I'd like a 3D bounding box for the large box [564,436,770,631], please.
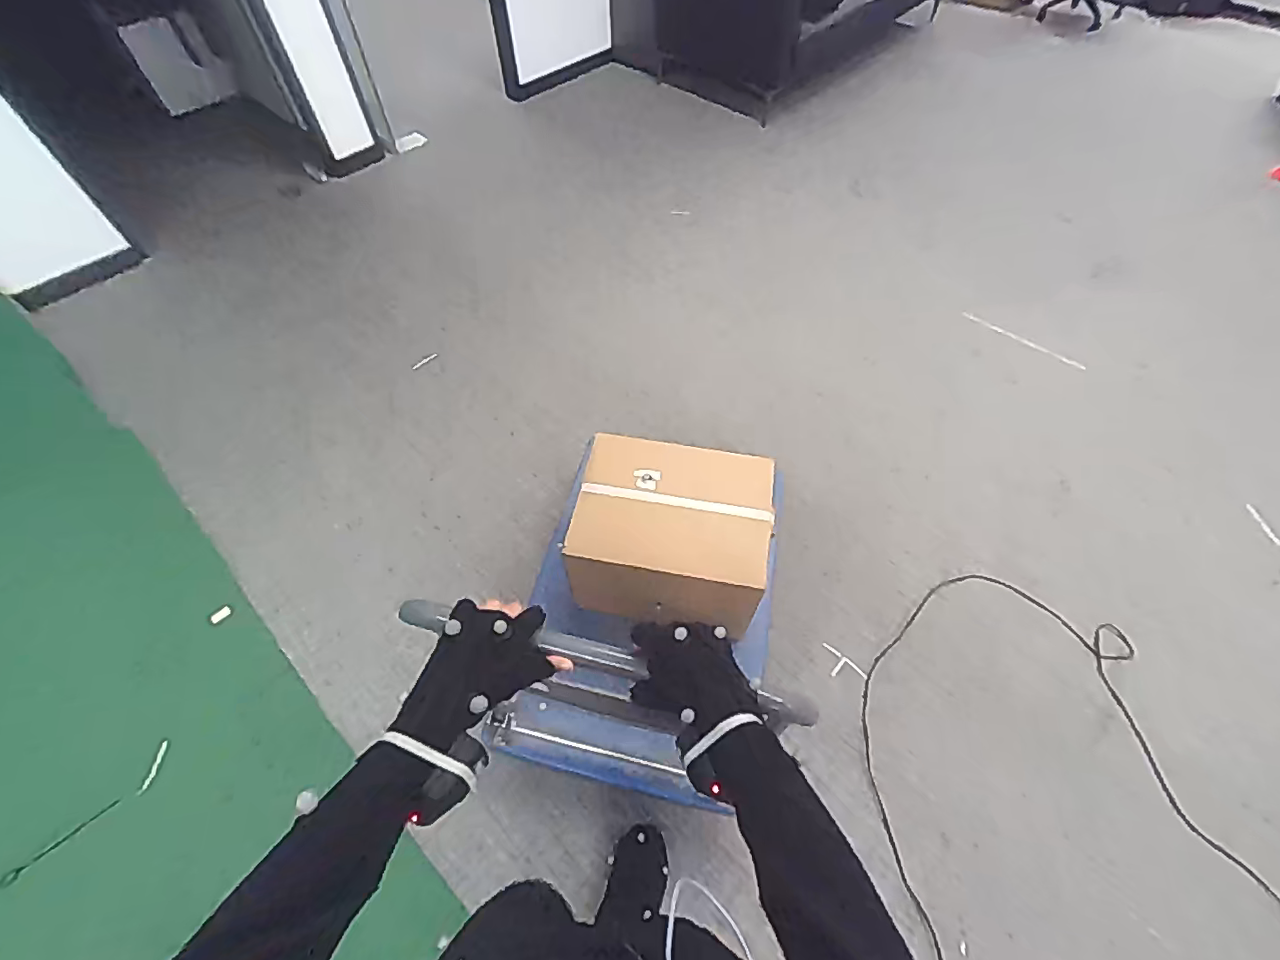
[{"bbox_3d":[0.071,0.132,1.258,0.408,0.320,0.320,9,56,6],"label":"large box"}]
